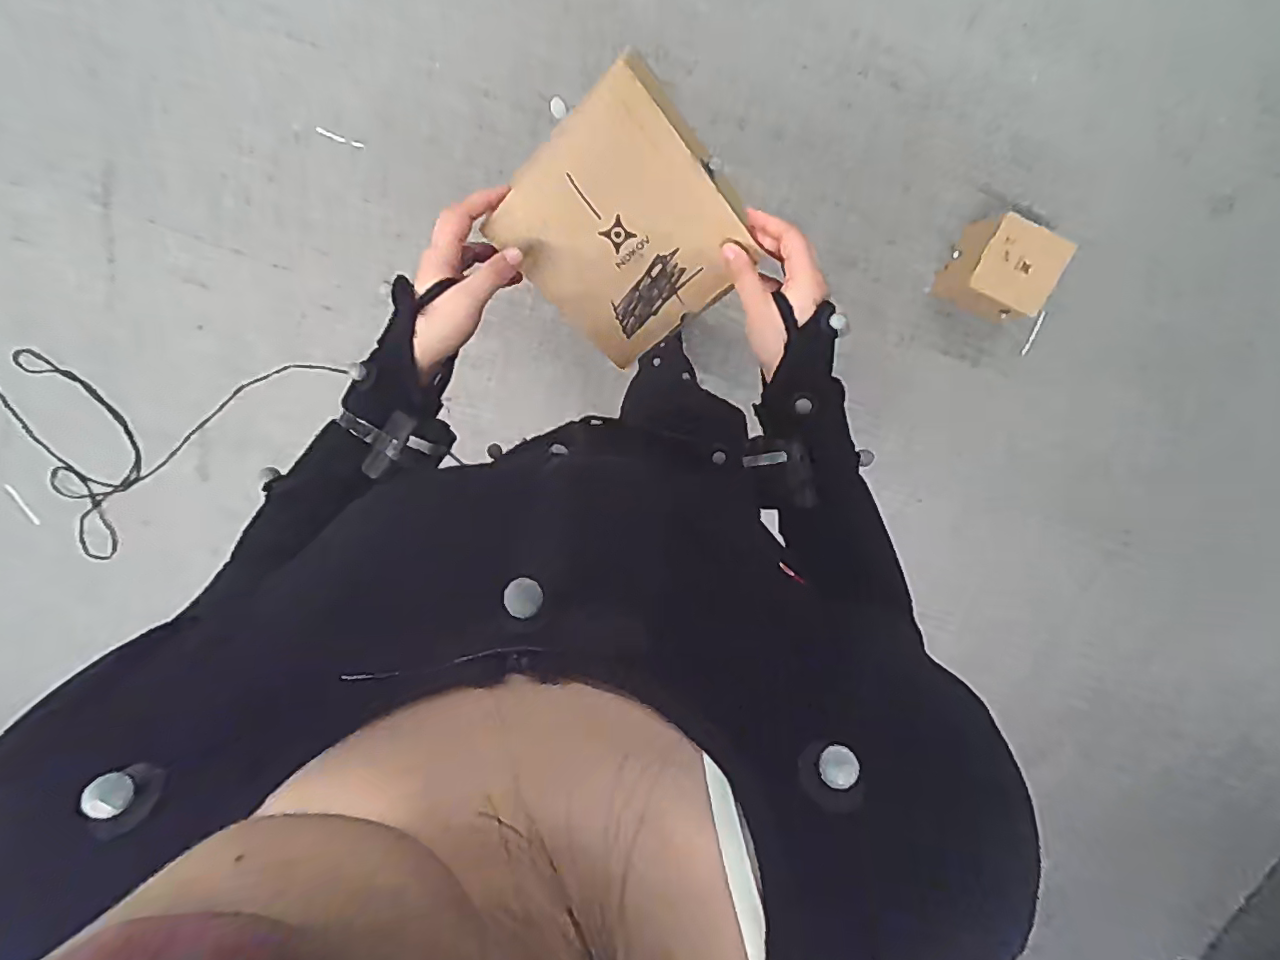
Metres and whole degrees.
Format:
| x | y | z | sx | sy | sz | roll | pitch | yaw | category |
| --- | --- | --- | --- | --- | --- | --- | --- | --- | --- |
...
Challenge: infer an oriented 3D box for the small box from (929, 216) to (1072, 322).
| x | y | z | sx | sy | sz | roll | pitch | yaw | category |
| --- | --- | --- | --- | --- | --- | --- | --- | --- | --- |
| 0.817 | -0.475 | 1.243 | 0.179 | 0.176 | 0.168 | 24 | 103 | -4 | small box |
